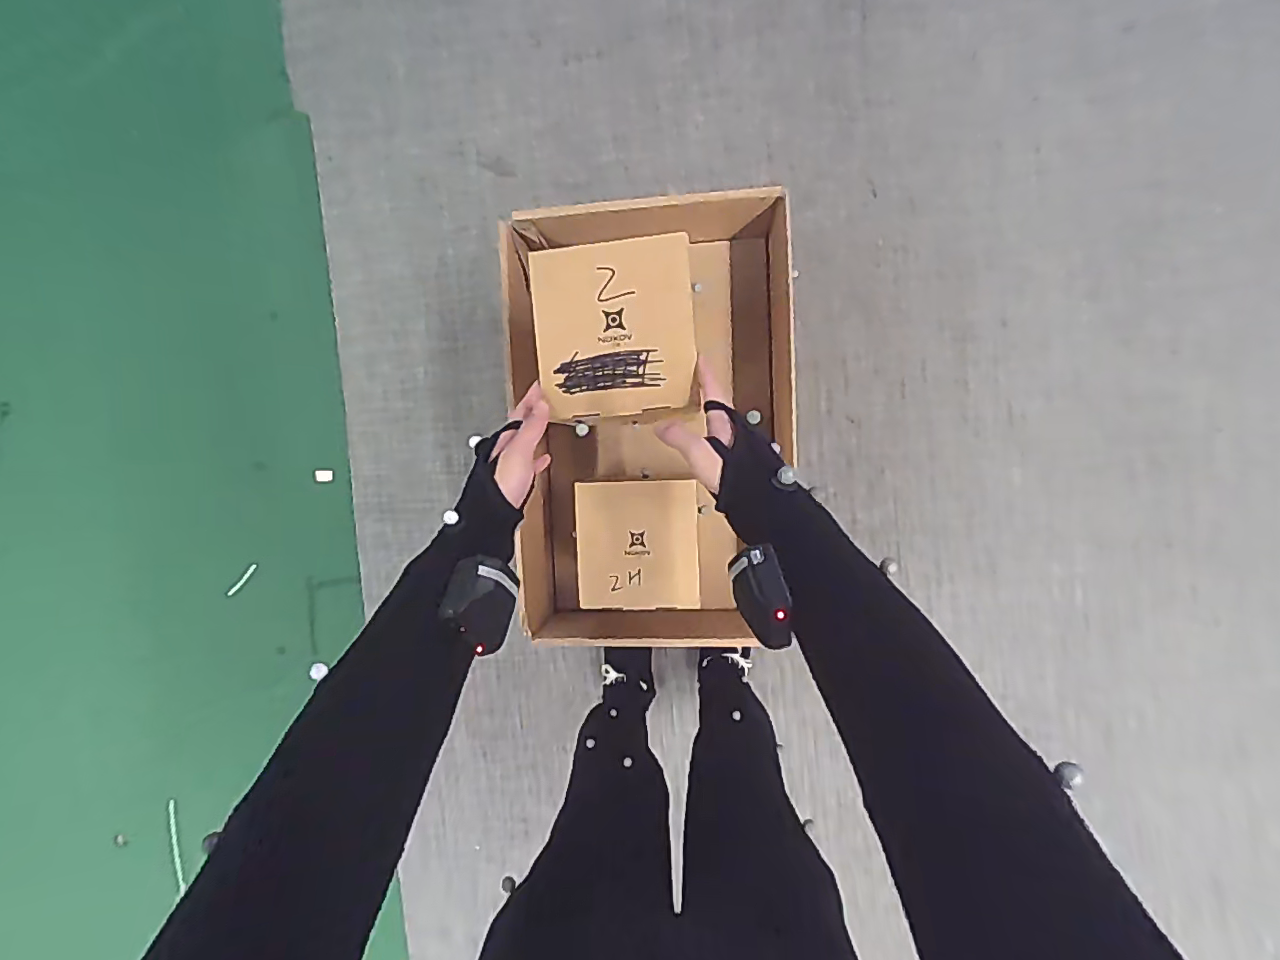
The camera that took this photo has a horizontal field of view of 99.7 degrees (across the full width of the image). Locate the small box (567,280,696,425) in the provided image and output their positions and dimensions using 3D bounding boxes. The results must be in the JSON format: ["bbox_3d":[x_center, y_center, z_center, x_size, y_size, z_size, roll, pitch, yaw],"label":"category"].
[{"bbox_3d":[-0.005,-0.175,0.794,0.168,0.176,0.179,-4,94,7],"label":"small box"}]

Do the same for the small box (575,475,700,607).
[{"bbox_3d":[0.004,0.081,0.802,0.168,0.176,0.179,-2,92,8],"label":"small box"}]
